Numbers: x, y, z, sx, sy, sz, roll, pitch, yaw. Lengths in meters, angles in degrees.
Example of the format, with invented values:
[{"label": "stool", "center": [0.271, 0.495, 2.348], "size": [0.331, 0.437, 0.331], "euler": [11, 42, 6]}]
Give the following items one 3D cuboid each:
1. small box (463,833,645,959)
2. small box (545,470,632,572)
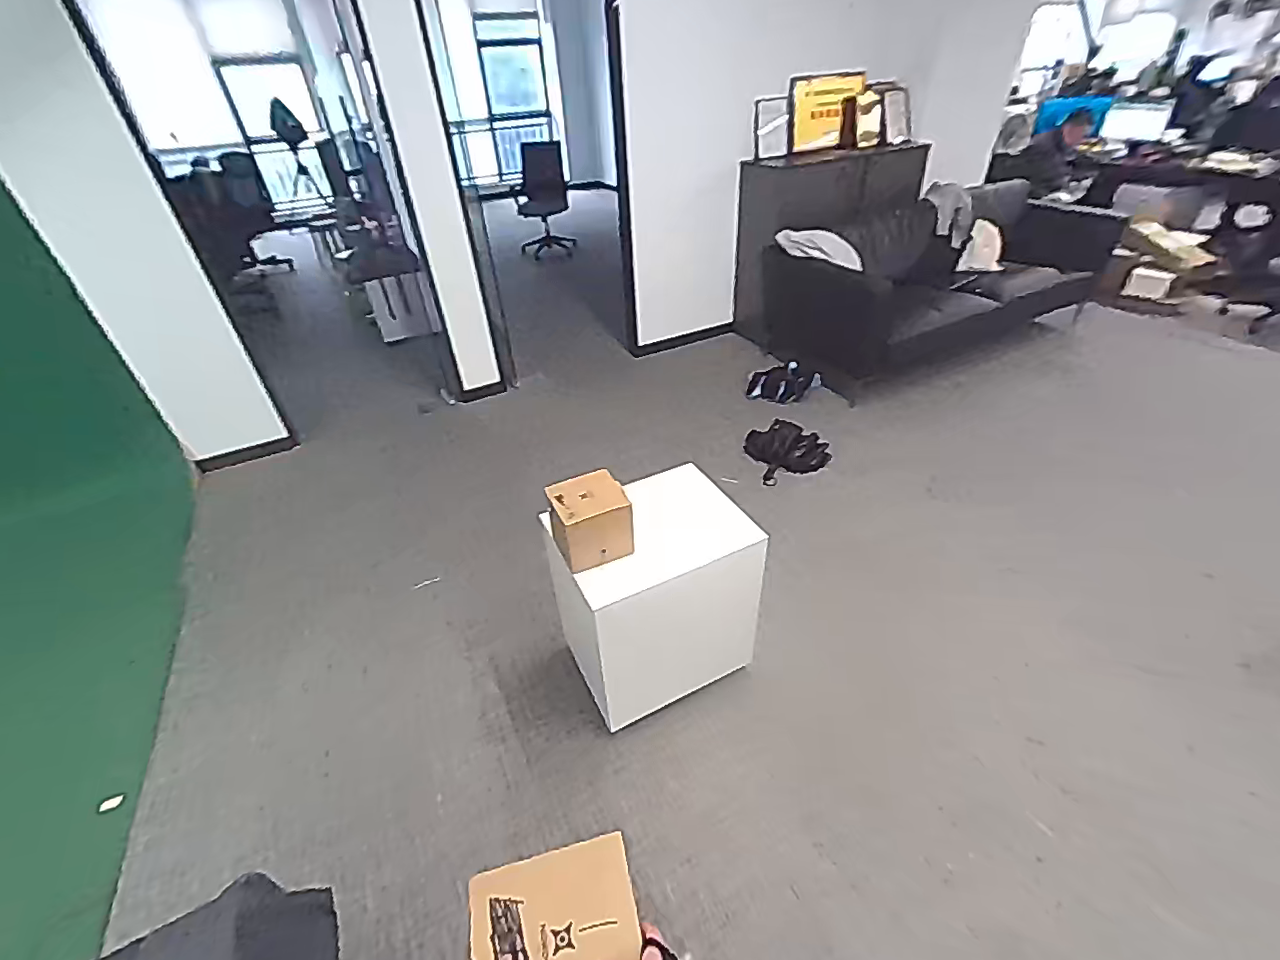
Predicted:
[{"label": "small box", "center": [-0.083, 0.530, 0.585], "size": [0.179, 0.176, 0.168], "euler": [-11, 33, -9]}, {"label": "small box", "center": [-0.130, 0.105, 1.381], "size": [0.179, 0.176, 0.168], "euler": [-17, 39, -20]}]
